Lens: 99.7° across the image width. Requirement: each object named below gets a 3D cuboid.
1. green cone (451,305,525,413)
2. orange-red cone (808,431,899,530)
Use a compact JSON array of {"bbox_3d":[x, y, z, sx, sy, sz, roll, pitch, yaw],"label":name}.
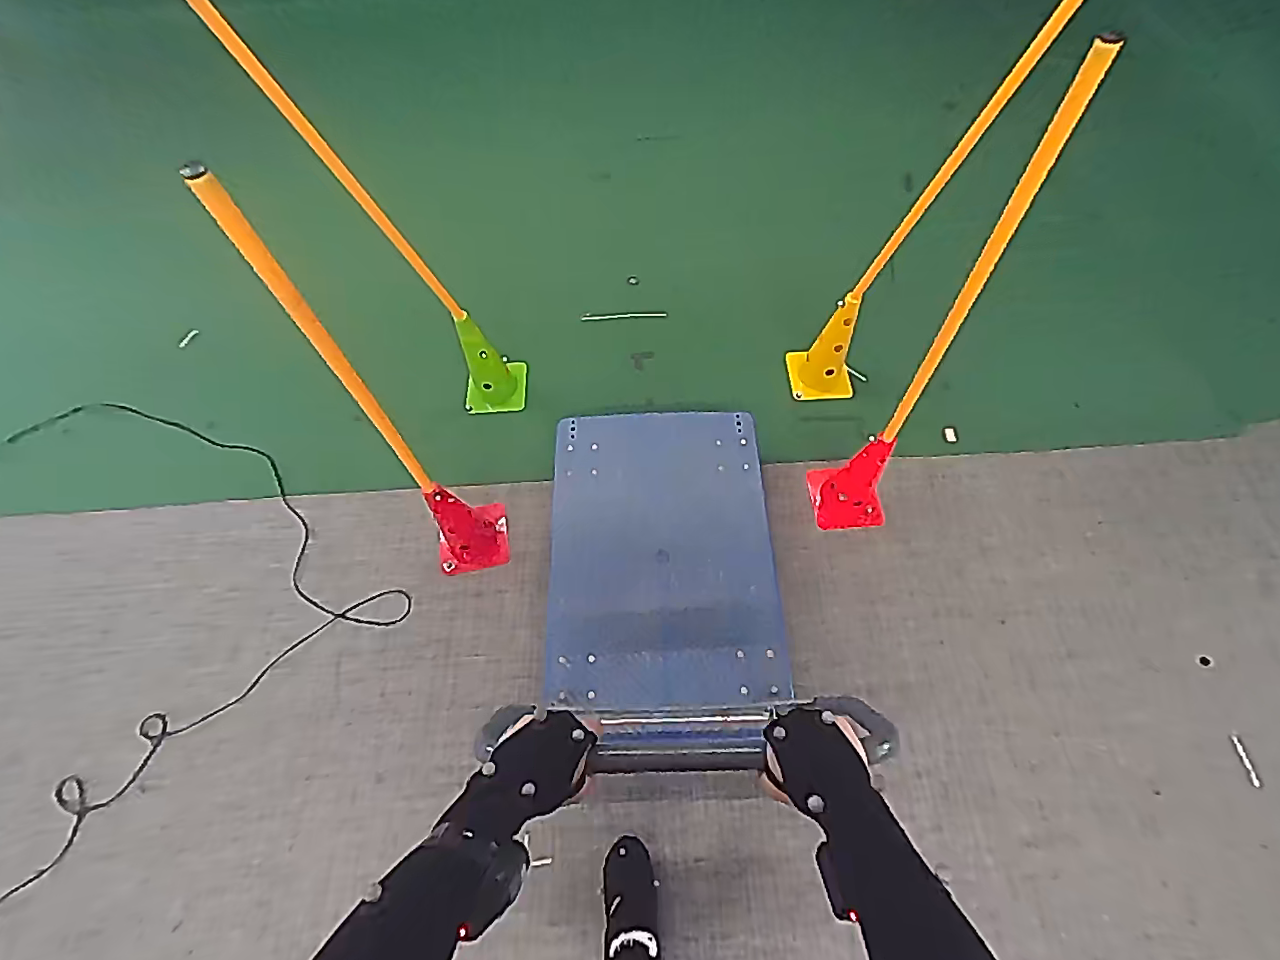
[{"bbox_3d":[-0.501,-0.394,1.681,0.200,0.368,0.202,-4,62,1],"label":"green cone"},{"bbox_3d":[0.609,-0.024,1.461,0.198,0.360,0.199,-3,62,0],"label":"orange-red cone"}]
